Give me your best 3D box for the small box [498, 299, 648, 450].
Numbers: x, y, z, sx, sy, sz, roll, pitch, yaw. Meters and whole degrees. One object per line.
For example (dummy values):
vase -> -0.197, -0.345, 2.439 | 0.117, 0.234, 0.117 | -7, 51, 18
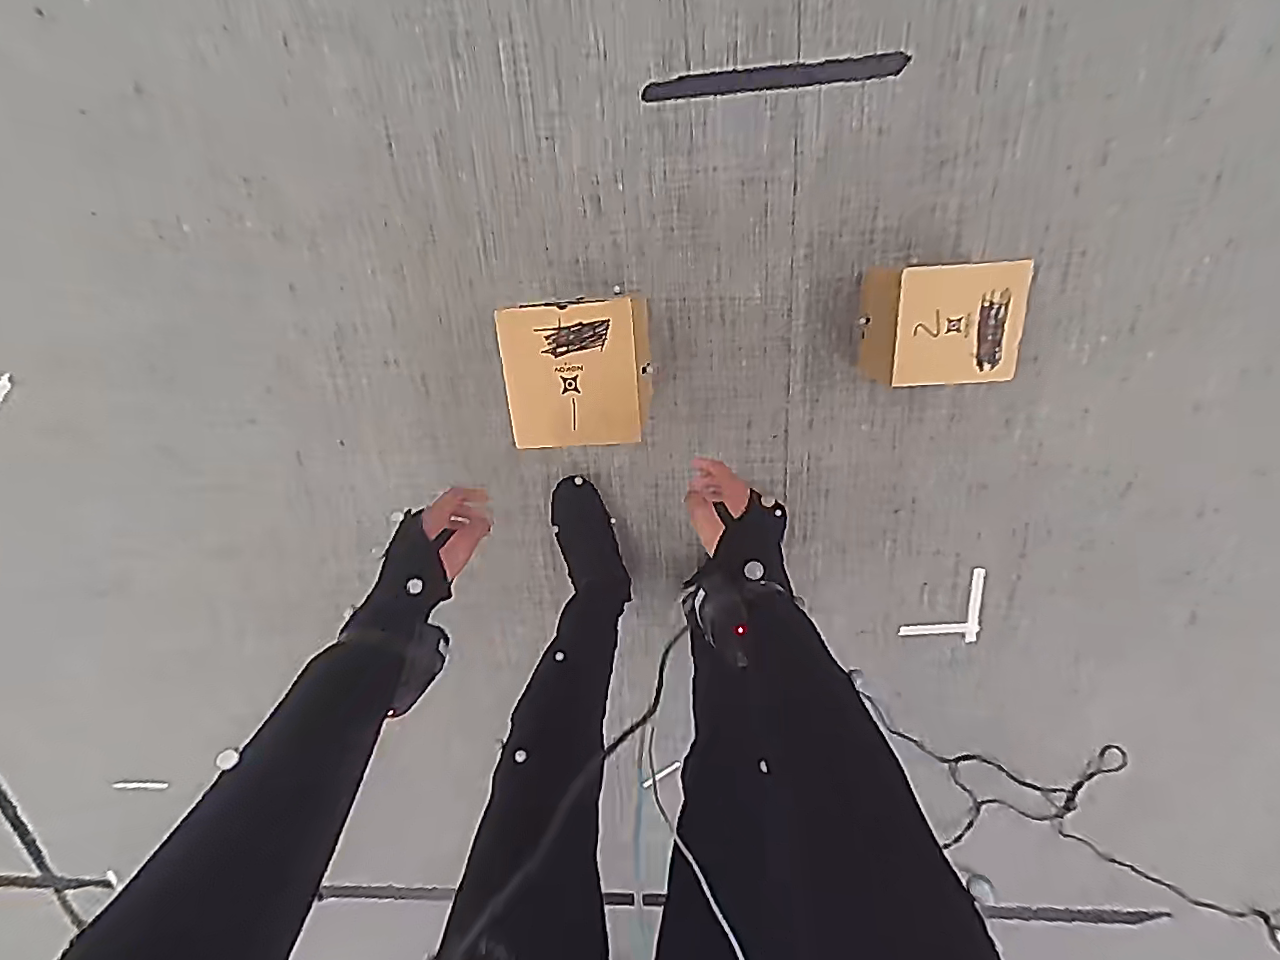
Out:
small box -> -0.077, -0.149, 0.730 | 0.168, 0.176, 0.179 | -2, 111, 5
